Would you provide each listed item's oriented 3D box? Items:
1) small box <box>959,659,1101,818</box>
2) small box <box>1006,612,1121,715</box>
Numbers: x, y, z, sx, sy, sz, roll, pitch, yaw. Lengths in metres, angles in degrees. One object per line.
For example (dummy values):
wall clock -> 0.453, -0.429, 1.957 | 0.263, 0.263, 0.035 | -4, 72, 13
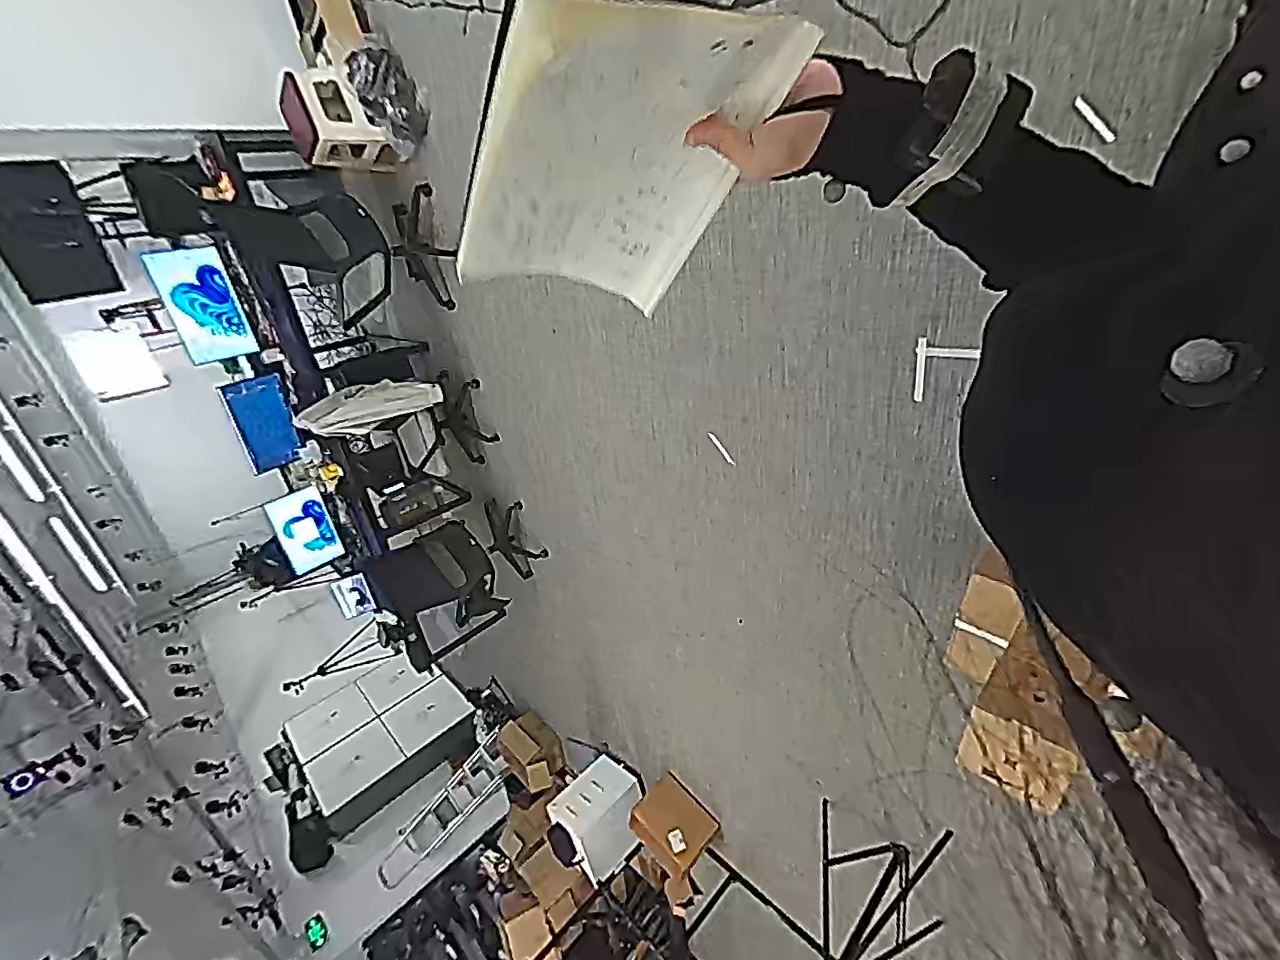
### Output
small box -> 0.744, 0.481, 1.033 | 0.168, 0.176, 0.179 | 24, 129, 41
small box -> 0.860, 0.409, 1.124 | 0.168, 0.176, 0.179 | 26, 132, 38
